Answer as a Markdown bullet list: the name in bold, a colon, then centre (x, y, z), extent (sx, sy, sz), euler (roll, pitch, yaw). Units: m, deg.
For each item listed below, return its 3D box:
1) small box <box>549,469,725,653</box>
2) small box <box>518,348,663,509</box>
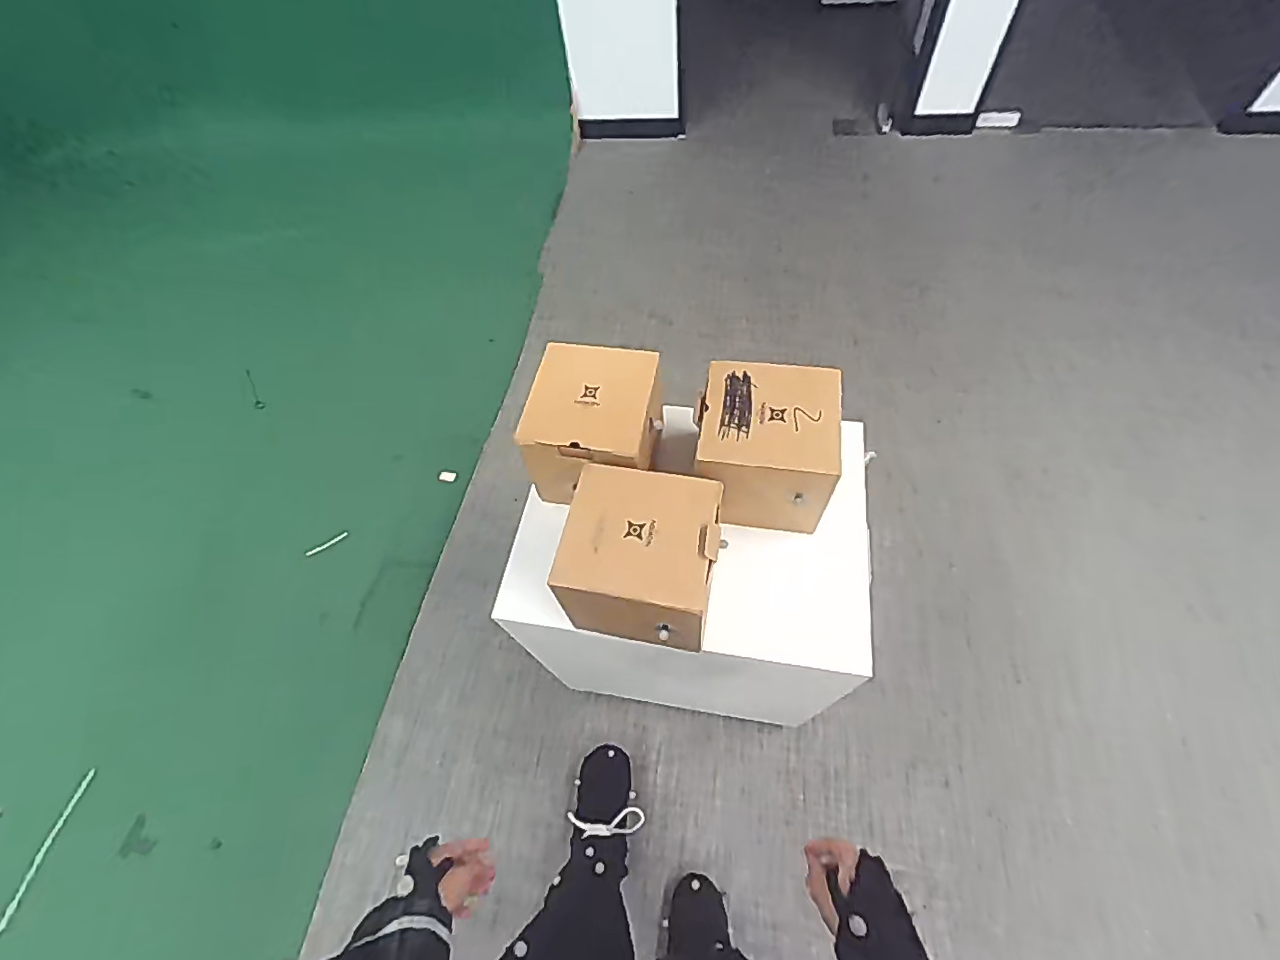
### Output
- **small box**: centre (0.007, 0.108, 0.683), extent (0.179, 0.176, 0.168), euler (7, 58, 11)
- **small box**: centre (-0.060, -0.065, 0.796), extent (0.168, 0.176, 0.179), euler (7, 61, 8)
